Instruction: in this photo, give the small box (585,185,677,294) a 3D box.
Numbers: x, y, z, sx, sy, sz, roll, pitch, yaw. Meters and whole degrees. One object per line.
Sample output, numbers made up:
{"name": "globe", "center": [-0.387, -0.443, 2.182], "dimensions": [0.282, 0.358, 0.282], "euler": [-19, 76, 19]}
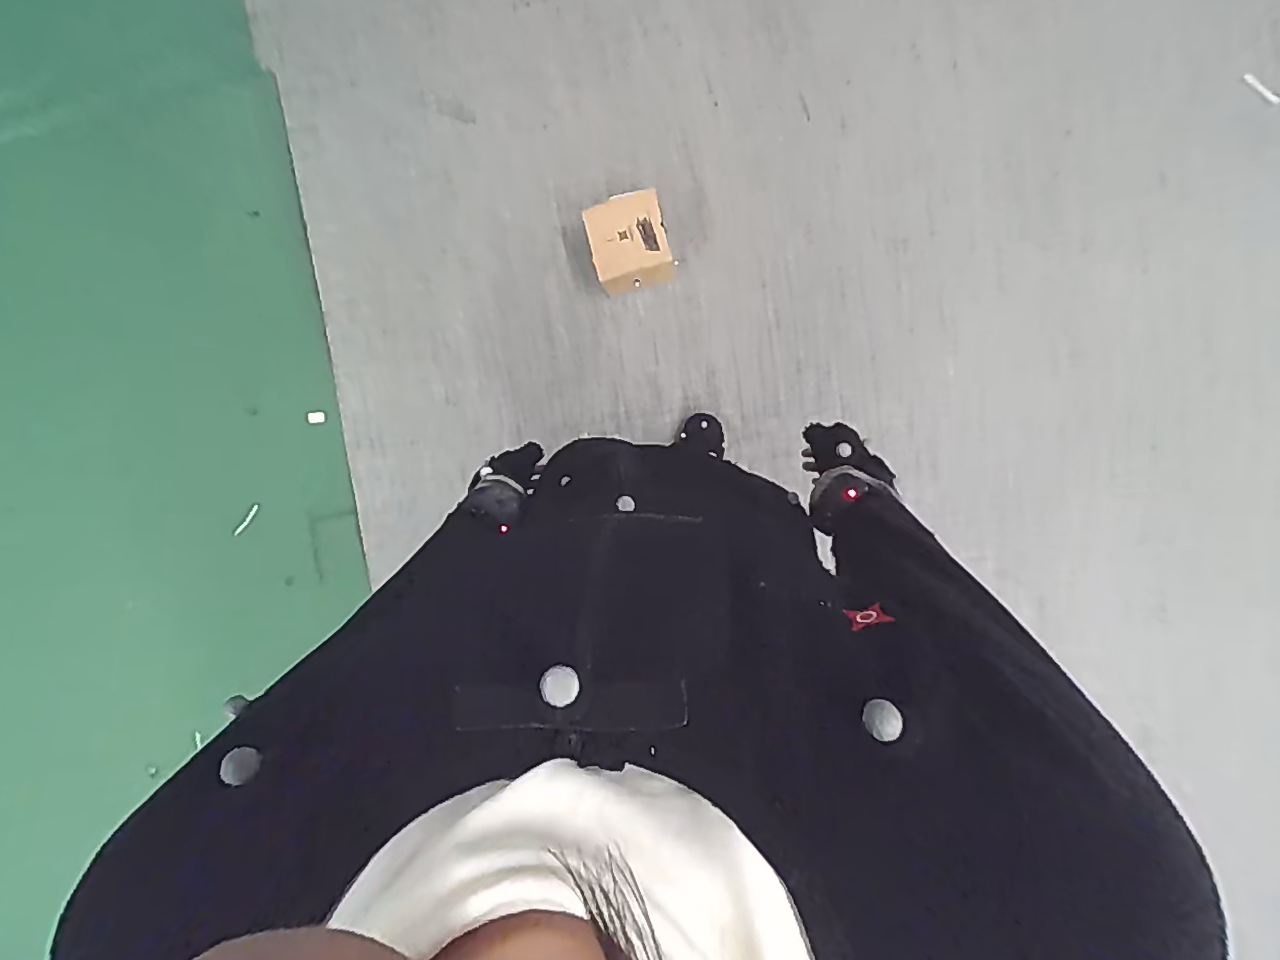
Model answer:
{"name": "small box", "center": [-0.016, -0.568, 1.300], "dimensions": [0.179, 0.176, 0.168], "euler": [-17, 94, 7]}
